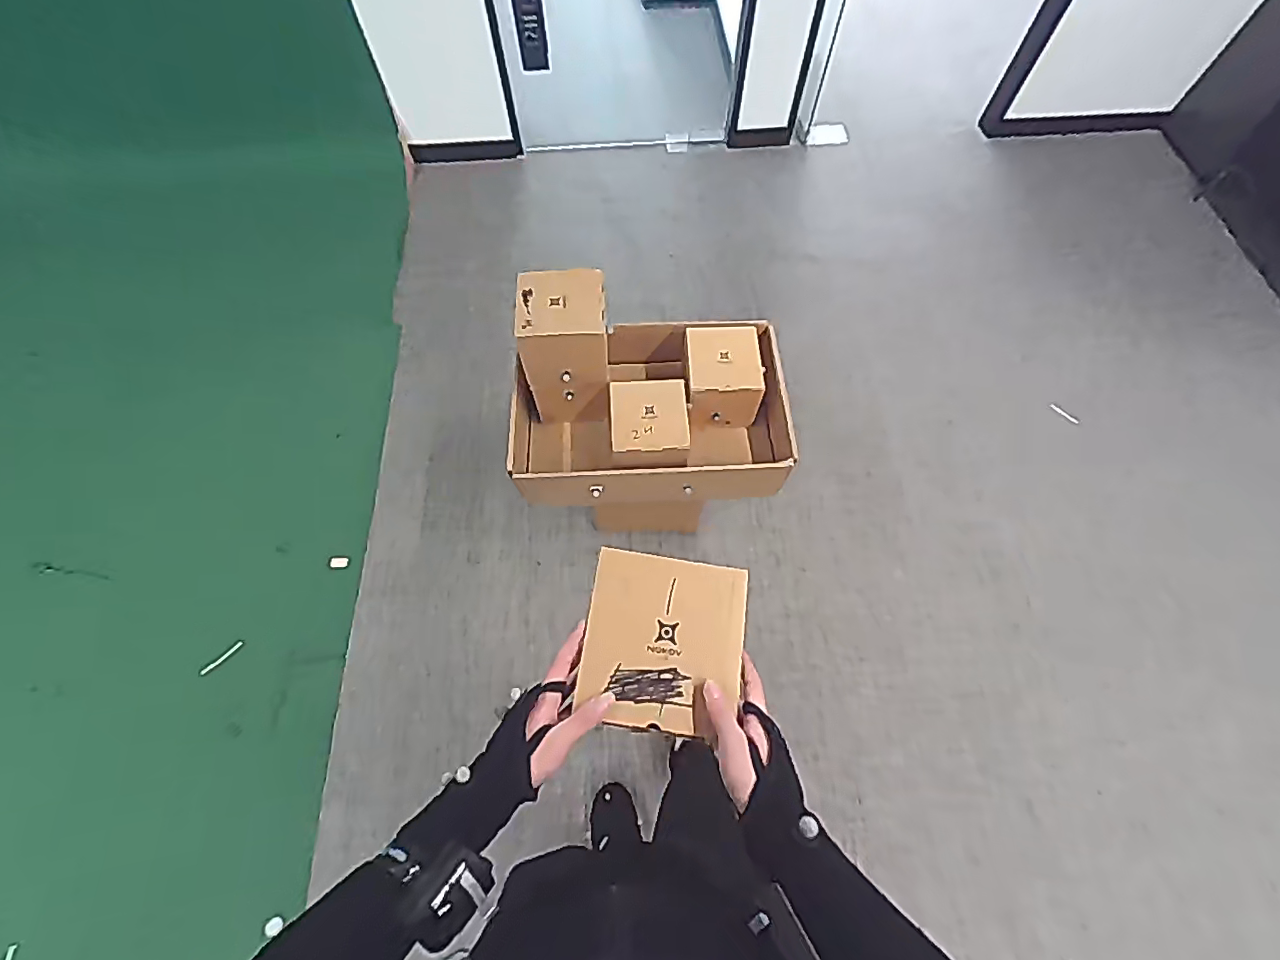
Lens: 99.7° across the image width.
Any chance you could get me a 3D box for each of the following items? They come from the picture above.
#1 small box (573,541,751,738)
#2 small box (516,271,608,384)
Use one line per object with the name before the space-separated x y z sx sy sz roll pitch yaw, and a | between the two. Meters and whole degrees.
small box | 0.021 0.187 0.630 0.168 0.176 0.179 10 68 -2
small box | -0.156 -0.317 1.142 0.179 0.176 0.168 -2 65 -2
